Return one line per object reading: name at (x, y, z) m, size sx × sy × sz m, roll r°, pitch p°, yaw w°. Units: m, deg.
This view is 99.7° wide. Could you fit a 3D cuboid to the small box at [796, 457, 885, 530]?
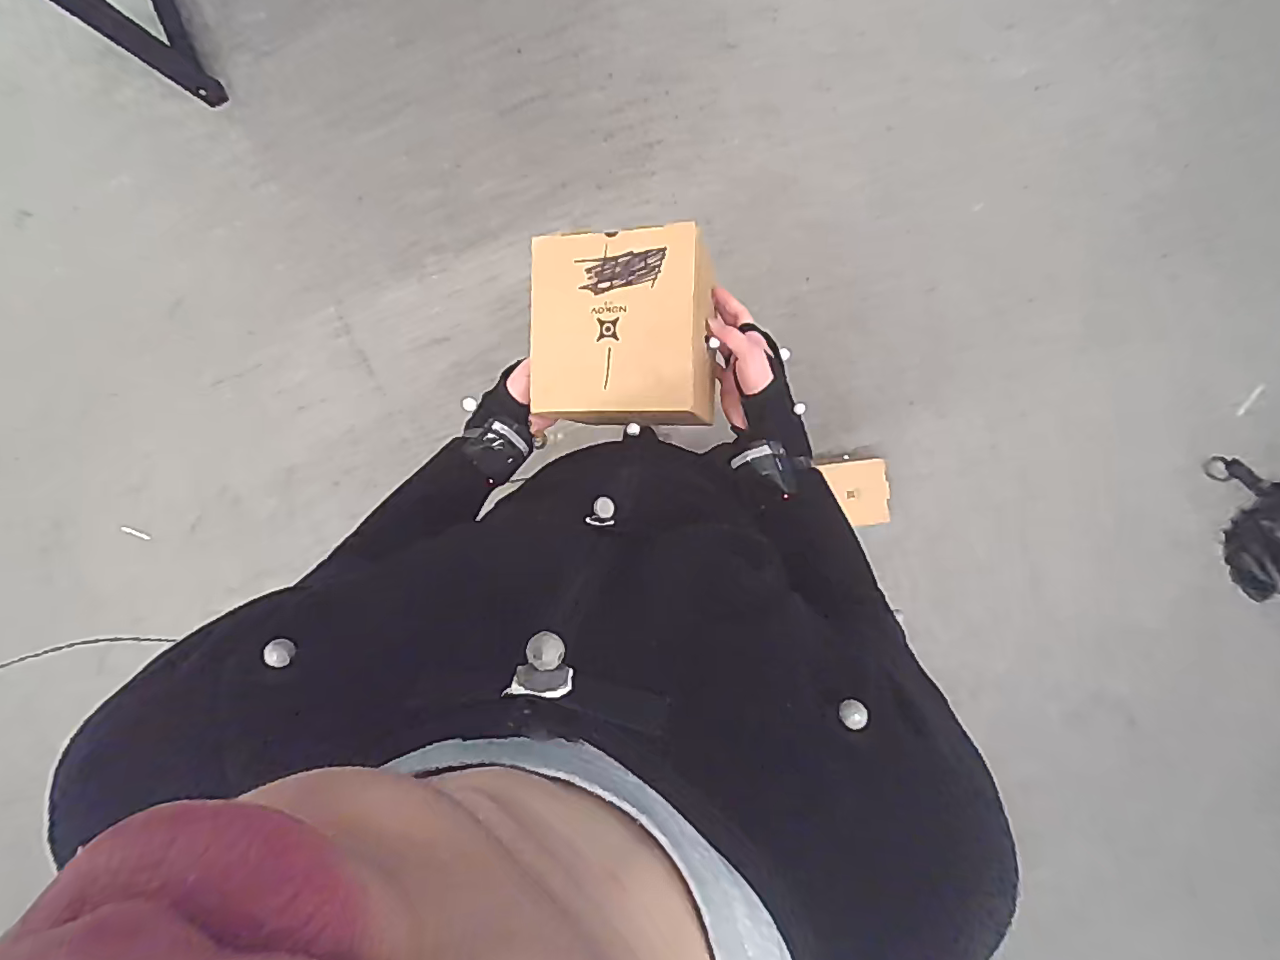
small box at (0.535, 0.030, 1.459) m, size 0.179 × 0.176 × 0.168 m, roll -7°, pitch 95°, yaw 5°
